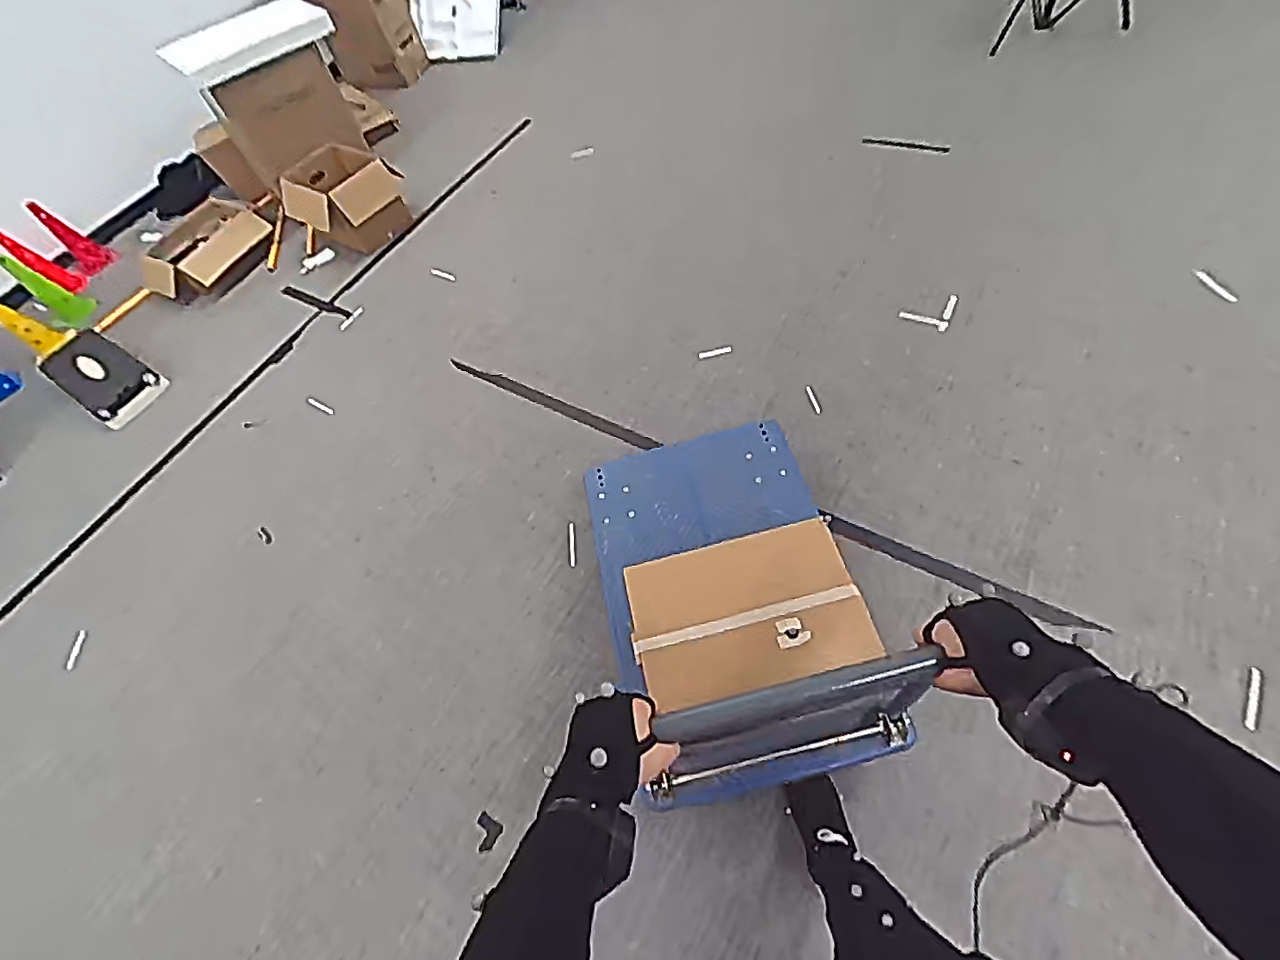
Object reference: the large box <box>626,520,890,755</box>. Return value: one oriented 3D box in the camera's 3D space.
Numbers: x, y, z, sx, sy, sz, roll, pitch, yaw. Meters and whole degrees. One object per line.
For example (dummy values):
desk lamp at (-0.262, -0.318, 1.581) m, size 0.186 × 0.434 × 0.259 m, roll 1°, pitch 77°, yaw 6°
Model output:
large box at (0.215, 0.331, 1.098) m, size 0.408 × 0.320 × 0.320 m, roll -15°, pitch 58°, yaw 1°
